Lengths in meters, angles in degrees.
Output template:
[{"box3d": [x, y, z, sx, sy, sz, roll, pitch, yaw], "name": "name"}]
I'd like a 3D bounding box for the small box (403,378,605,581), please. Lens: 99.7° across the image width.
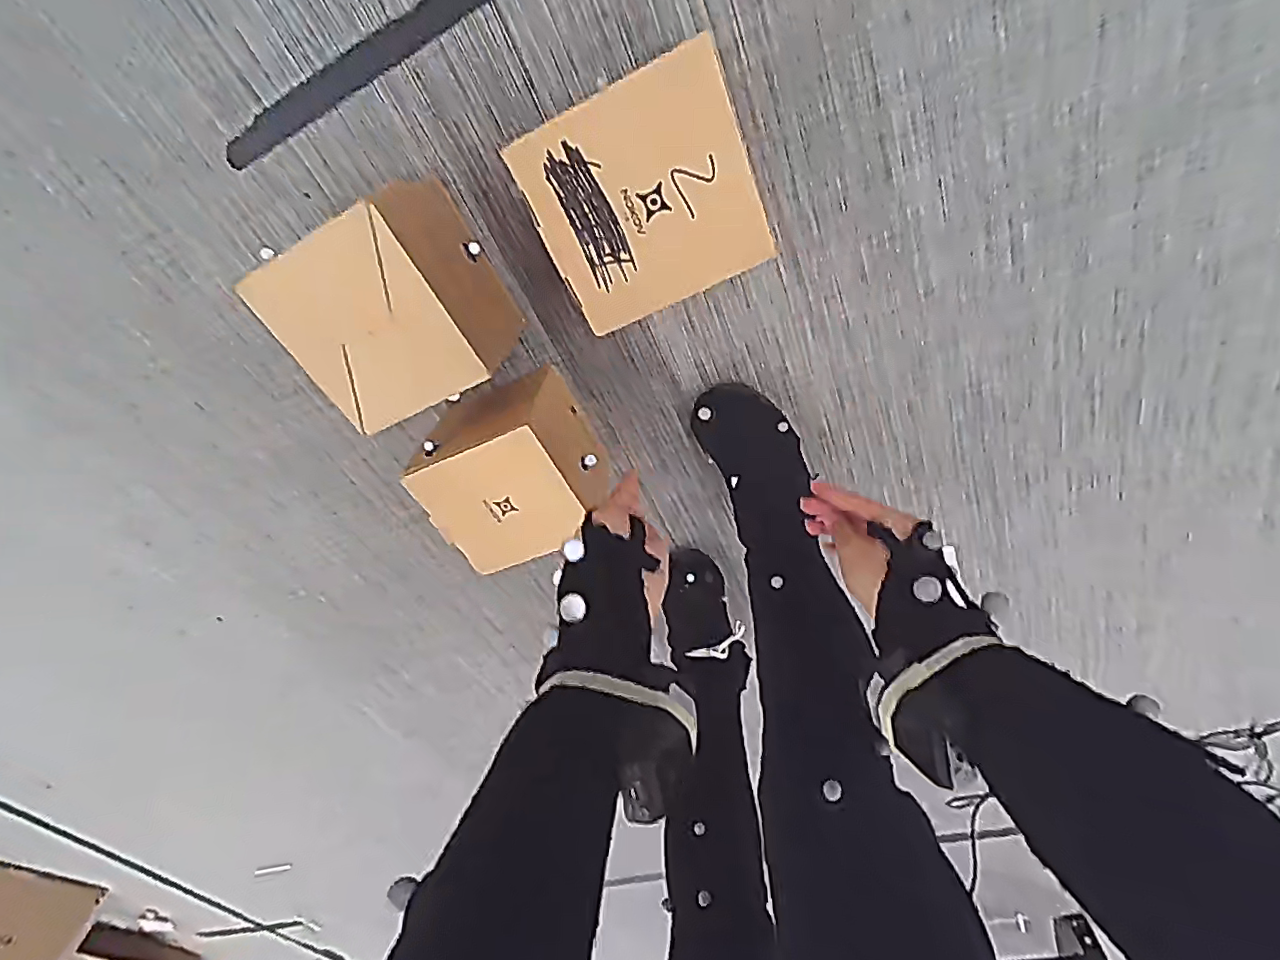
[{"box3d": [-0.154, -0.005, 0.689, 0.179, 0.176, 0.168, -20, 121, 16], "name": "small box"}]
